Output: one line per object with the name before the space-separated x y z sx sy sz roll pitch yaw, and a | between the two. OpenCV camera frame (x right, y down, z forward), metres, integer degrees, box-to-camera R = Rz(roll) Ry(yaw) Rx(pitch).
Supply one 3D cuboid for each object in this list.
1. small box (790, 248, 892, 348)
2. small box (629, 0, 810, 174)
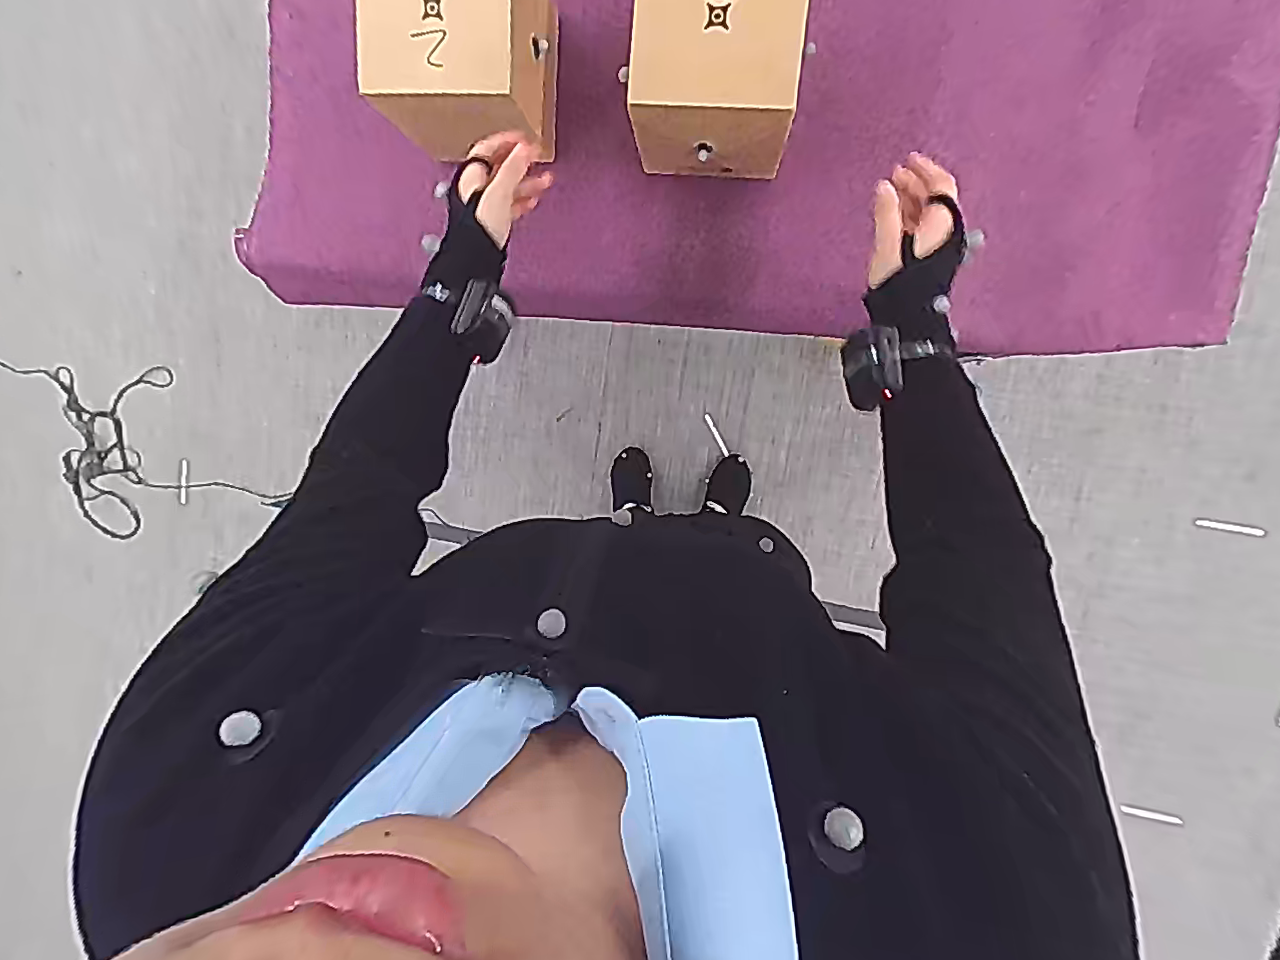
small box | 0.470 -0.426 1.296 0.168 0.176 0.179 17 99 4
small box | 0.087 -0.461 0.592 0.168 0.176 0.179 7 98 5
